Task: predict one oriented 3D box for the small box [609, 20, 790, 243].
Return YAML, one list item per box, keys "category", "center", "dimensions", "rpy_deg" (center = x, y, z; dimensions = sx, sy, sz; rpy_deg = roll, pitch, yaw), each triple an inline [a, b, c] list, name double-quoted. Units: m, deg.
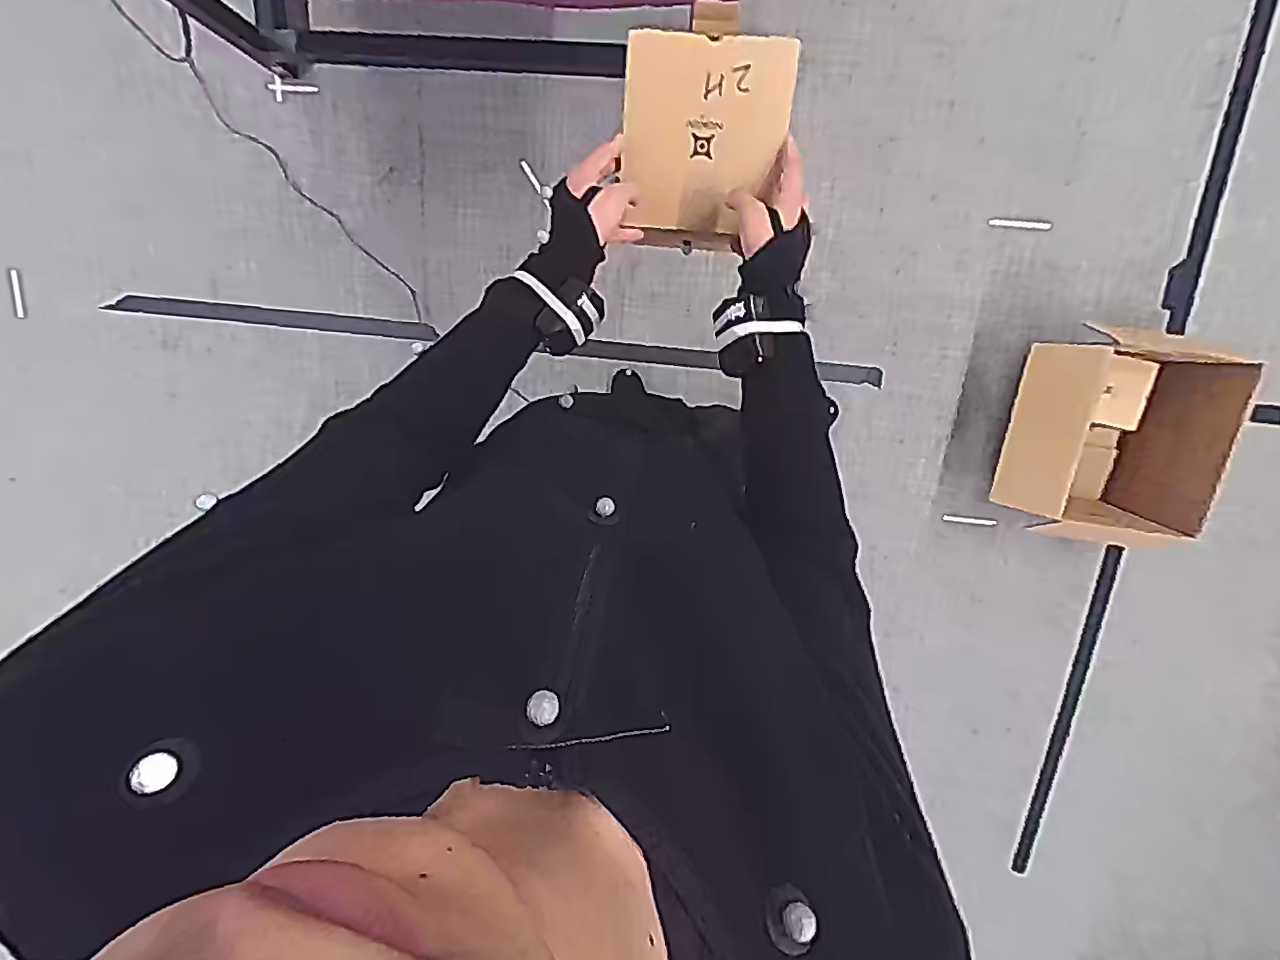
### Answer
- category: "small box"
  center: [0.061, -0.377, 0.618]
  dimensions: [0.168, 0.176, 0.179]
  rpy_deg: [5, 107, 2]
